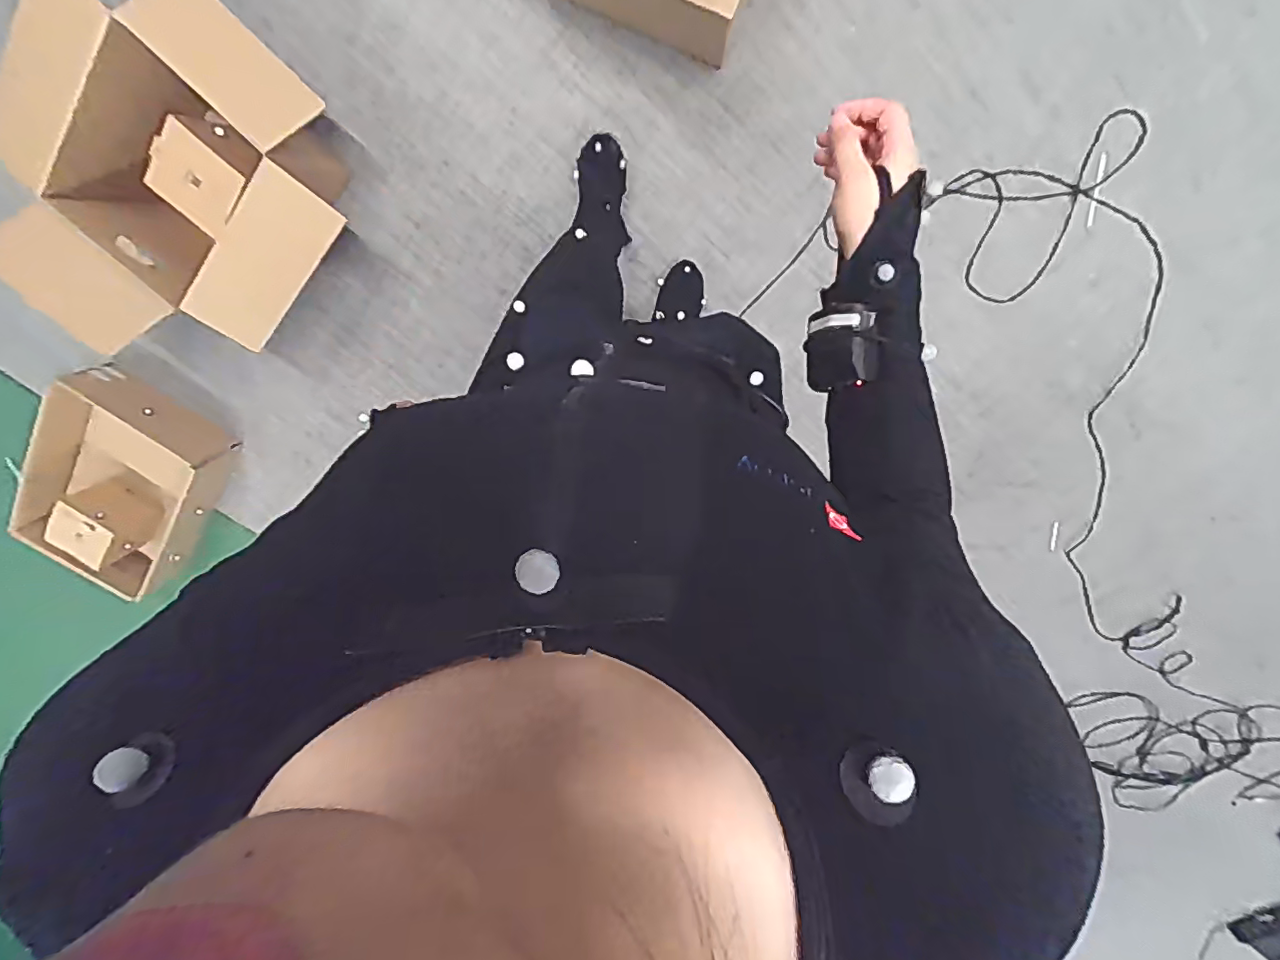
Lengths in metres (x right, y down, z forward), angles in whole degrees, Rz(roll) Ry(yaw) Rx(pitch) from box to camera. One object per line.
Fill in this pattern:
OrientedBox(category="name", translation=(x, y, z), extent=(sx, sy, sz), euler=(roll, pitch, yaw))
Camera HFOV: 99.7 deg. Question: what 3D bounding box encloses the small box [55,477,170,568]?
OrientedBox(category="small box", translation=(-1.584, 0.125, 1.633), extent=(0.168, 0.176, 0.179), euler=(39, 112, -11))
